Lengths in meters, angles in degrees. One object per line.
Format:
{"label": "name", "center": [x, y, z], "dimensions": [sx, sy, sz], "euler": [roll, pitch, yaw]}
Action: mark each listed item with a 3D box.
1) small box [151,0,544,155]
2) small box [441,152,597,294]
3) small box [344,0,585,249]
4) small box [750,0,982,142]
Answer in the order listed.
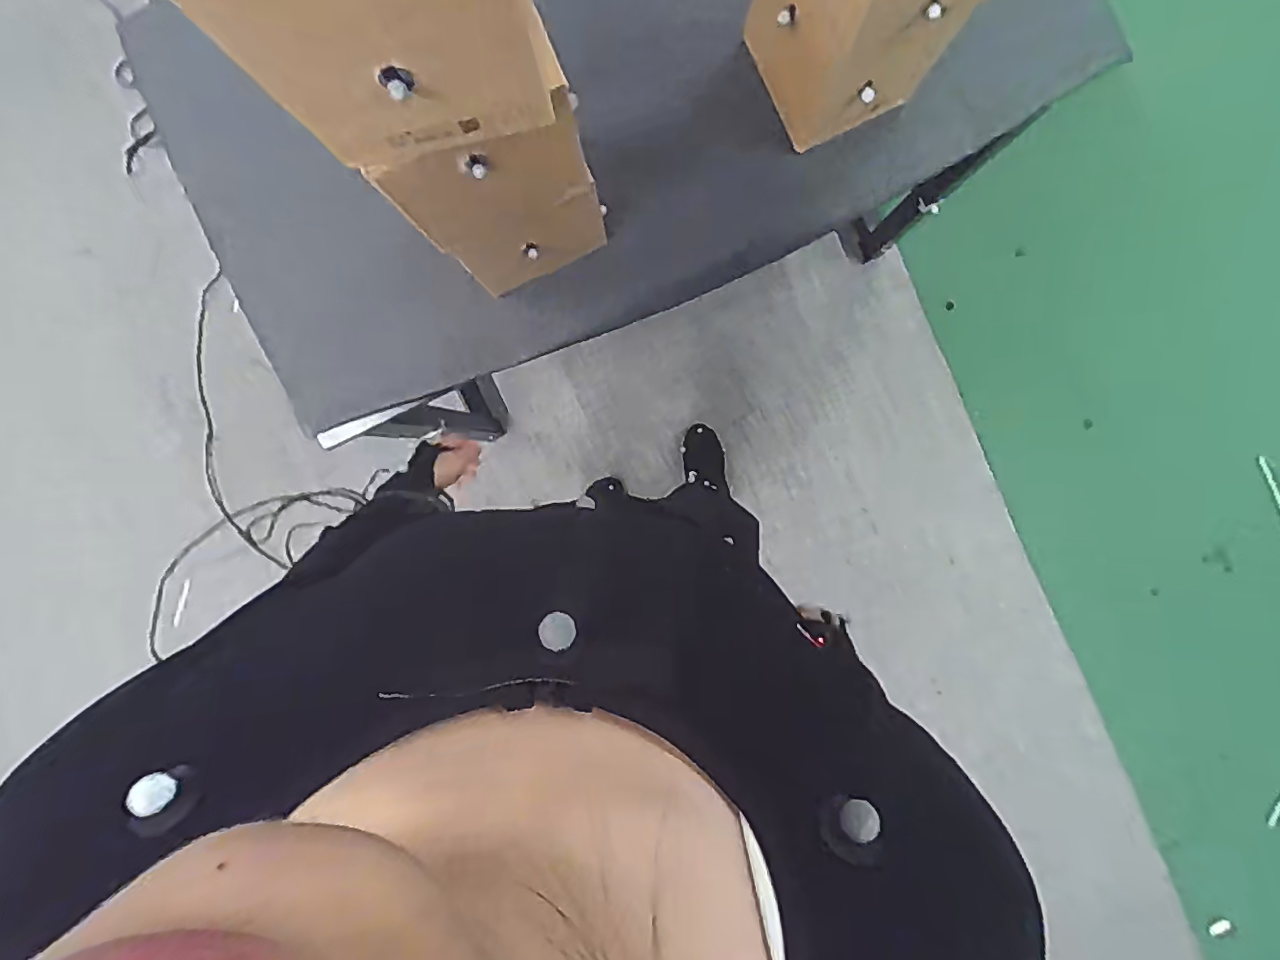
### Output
{"label": "small box", "center": [-0.164, -0.327, 0.324], "dimensions": [0.168, 0.176, 0.179], "euler": [-11, 93, 1]}
{"label": "small box", "center": [-0.160, -0.352, 0.650], "dimensions": [0.179, 0.176, 0.168], "euler": [-24, 92, 3]}
{"label": "small box", "center": [-0.165, -0.340, 0.489], "dimensions": [0.179, 0.176, 0.168], "euler": [-23, 93, 2]}
{"label": "small box", "center": [0.245, -0.536, 0.630], "dimensions": [0.168, 0.176, 0.179], "euler": [-25, 91, 3]}
